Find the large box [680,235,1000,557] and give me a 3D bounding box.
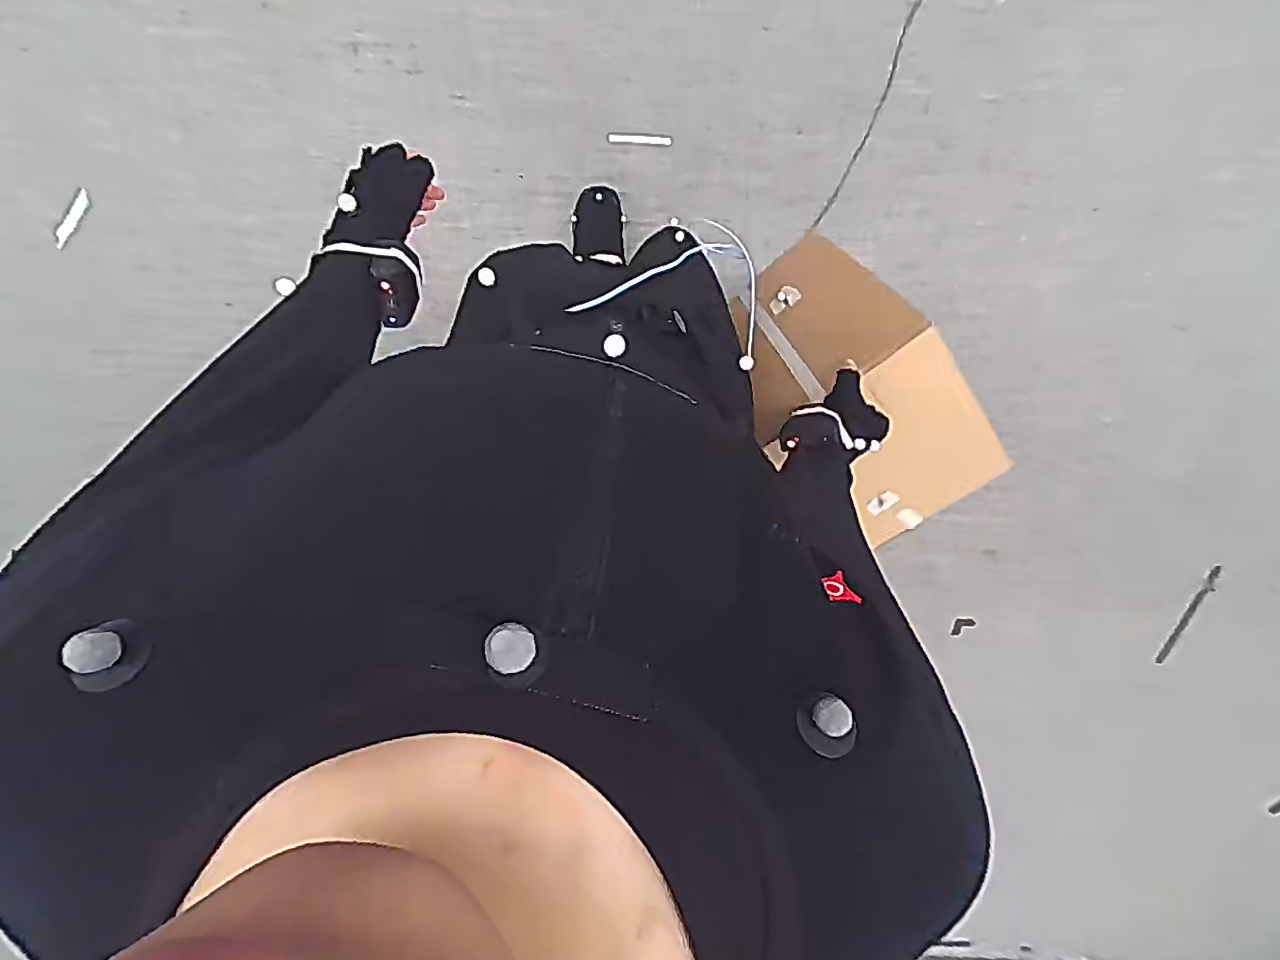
[{"bbox_3d":[0.311,-0.148,0.937,0.320,0.408,0.320,-39,123,23],"label":"large box"}]
